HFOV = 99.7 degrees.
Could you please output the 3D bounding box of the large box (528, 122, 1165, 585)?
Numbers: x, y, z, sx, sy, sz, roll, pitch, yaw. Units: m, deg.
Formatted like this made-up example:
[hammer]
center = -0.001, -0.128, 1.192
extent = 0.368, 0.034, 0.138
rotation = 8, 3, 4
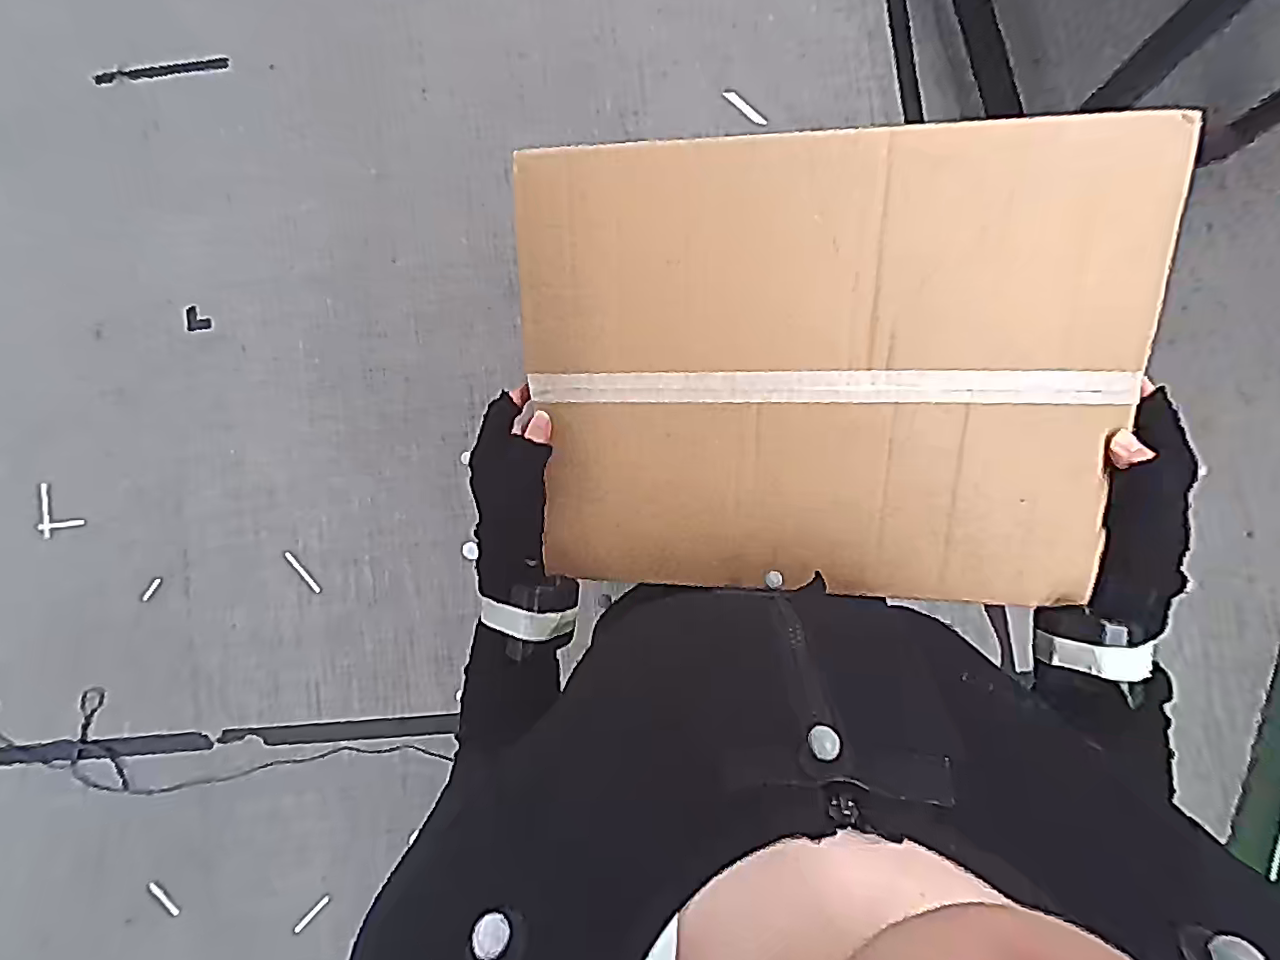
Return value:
[large box]
center = 0.140, -0.112, 0.531
extent = 0.408, 0.320, 0.320
rotation = 2, 108, 8
